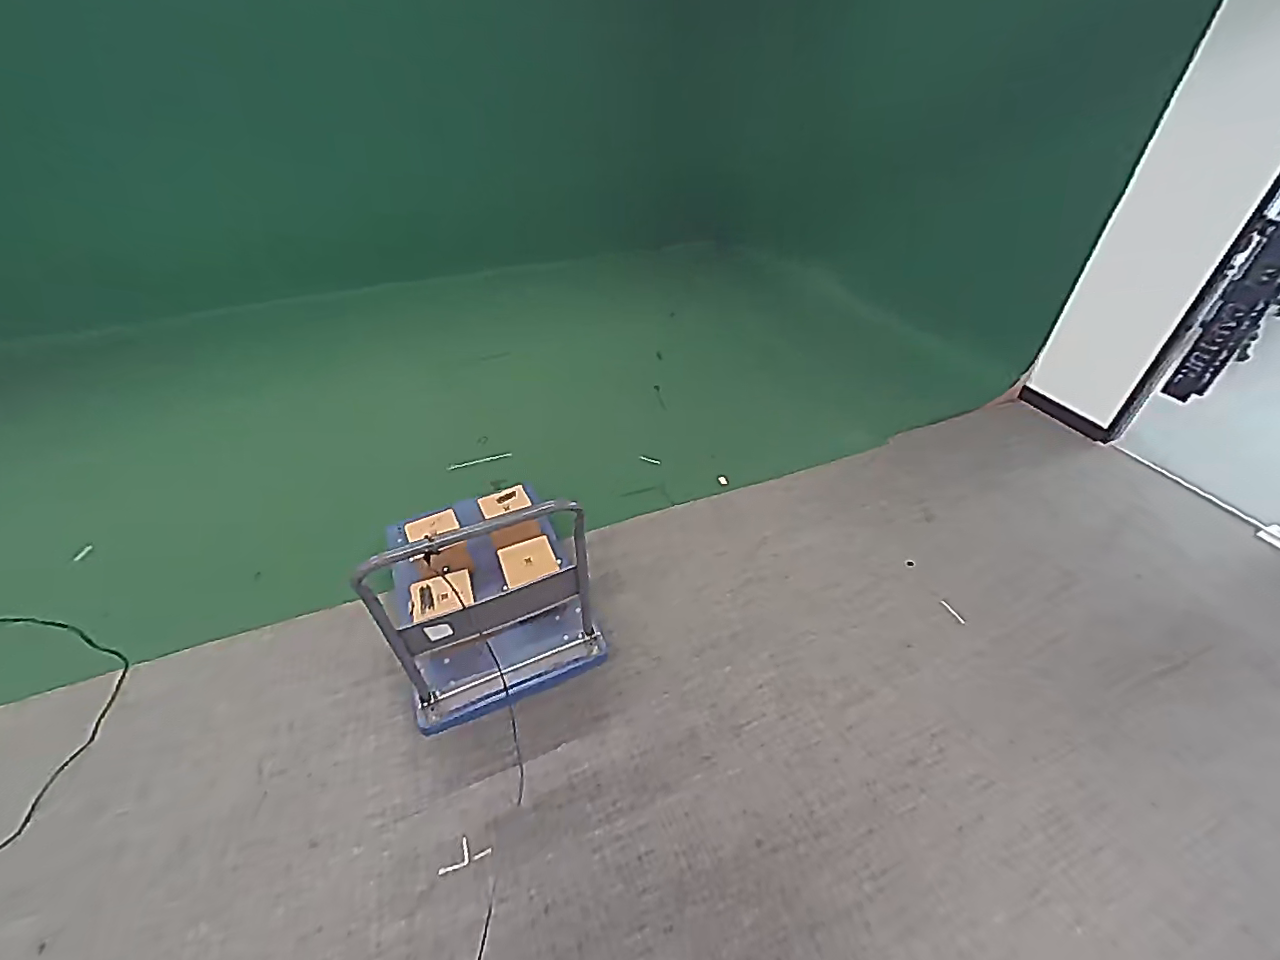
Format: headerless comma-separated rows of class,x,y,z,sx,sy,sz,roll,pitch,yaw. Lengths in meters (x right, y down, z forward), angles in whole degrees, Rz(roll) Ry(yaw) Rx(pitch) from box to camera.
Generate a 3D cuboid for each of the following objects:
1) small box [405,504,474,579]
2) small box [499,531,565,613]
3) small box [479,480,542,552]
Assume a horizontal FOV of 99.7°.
small box,-0.684,0.217,1.855,0.168,0.176,0.179,-19,45,-21
small box,-0.352,0.300,1.761,0.168,0.176,0.179,-16,45,-17
small box,-0.463,0.135,1.943,0.168,0.176,0.179,-21,47,-20
